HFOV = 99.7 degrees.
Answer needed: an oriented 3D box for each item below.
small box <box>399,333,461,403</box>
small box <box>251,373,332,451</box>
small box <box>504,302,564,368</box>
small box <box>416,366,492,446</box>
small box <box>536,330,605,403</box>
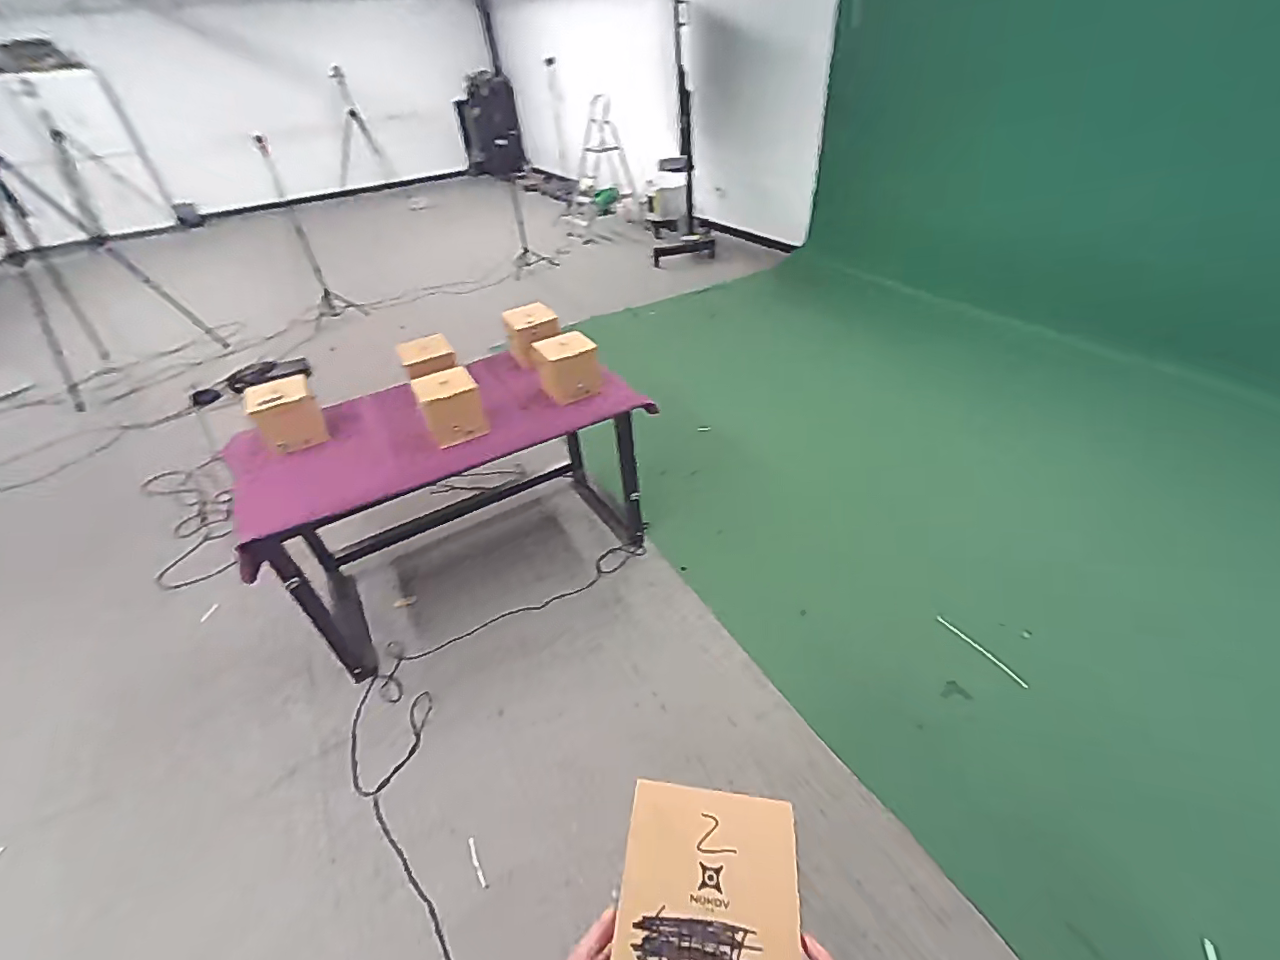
[{"bbox_3d":[-0.726,-0.391,1.903,0.168,0.176,0.179,-22,44,-20],"label":"small box"},{"bbox_3d":[-1.104,-0.211,1.718,0.168,0.176,0.179,-22,43,-21],"label":"small box"},{"bbox_3d":[-0.396,-0.552,2.058,0.168,0.176,0.179,-24,45,-19],"label":"small box"},{"bbox_3d":[-0.581,-0.231,1.693,0.168,0.176,0.179,-22,41,-20],"label":"small box"},{"bbox_3d":[-0.235,-0.384,1.836,0.168,0.176,0.179,-23,41,-19],"label":"small box"}]
